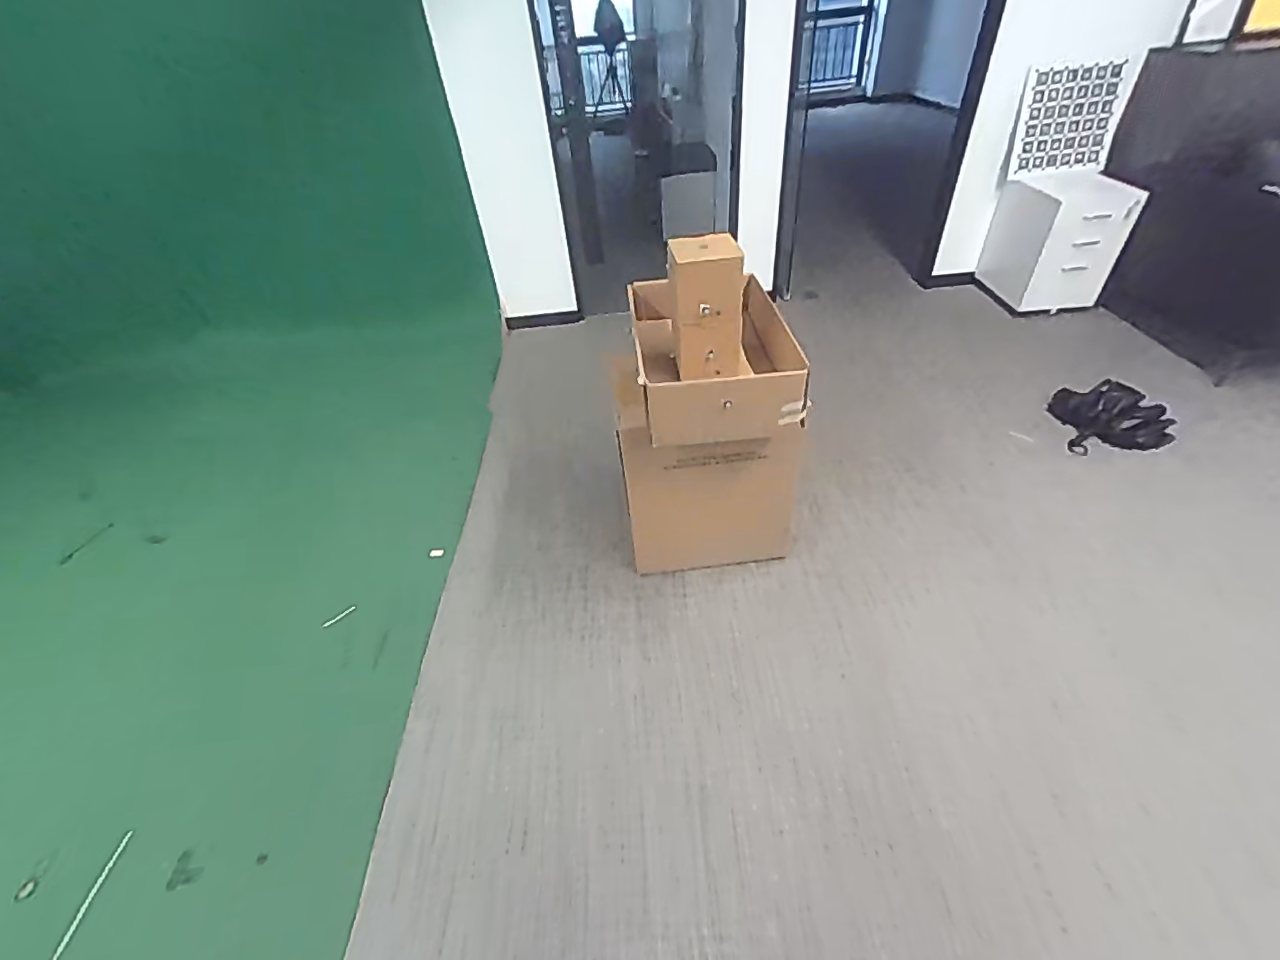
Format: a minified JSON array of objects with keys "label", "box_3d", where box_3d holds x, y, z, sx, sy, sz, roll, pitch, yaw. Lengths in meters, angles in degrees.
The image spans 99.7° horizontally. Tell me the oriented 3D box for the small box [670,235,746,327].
[{"label":"small box","box_3d":[0.170,-0.517,1.402,0.168,0.176,0.179,-8,42,-2]}]
